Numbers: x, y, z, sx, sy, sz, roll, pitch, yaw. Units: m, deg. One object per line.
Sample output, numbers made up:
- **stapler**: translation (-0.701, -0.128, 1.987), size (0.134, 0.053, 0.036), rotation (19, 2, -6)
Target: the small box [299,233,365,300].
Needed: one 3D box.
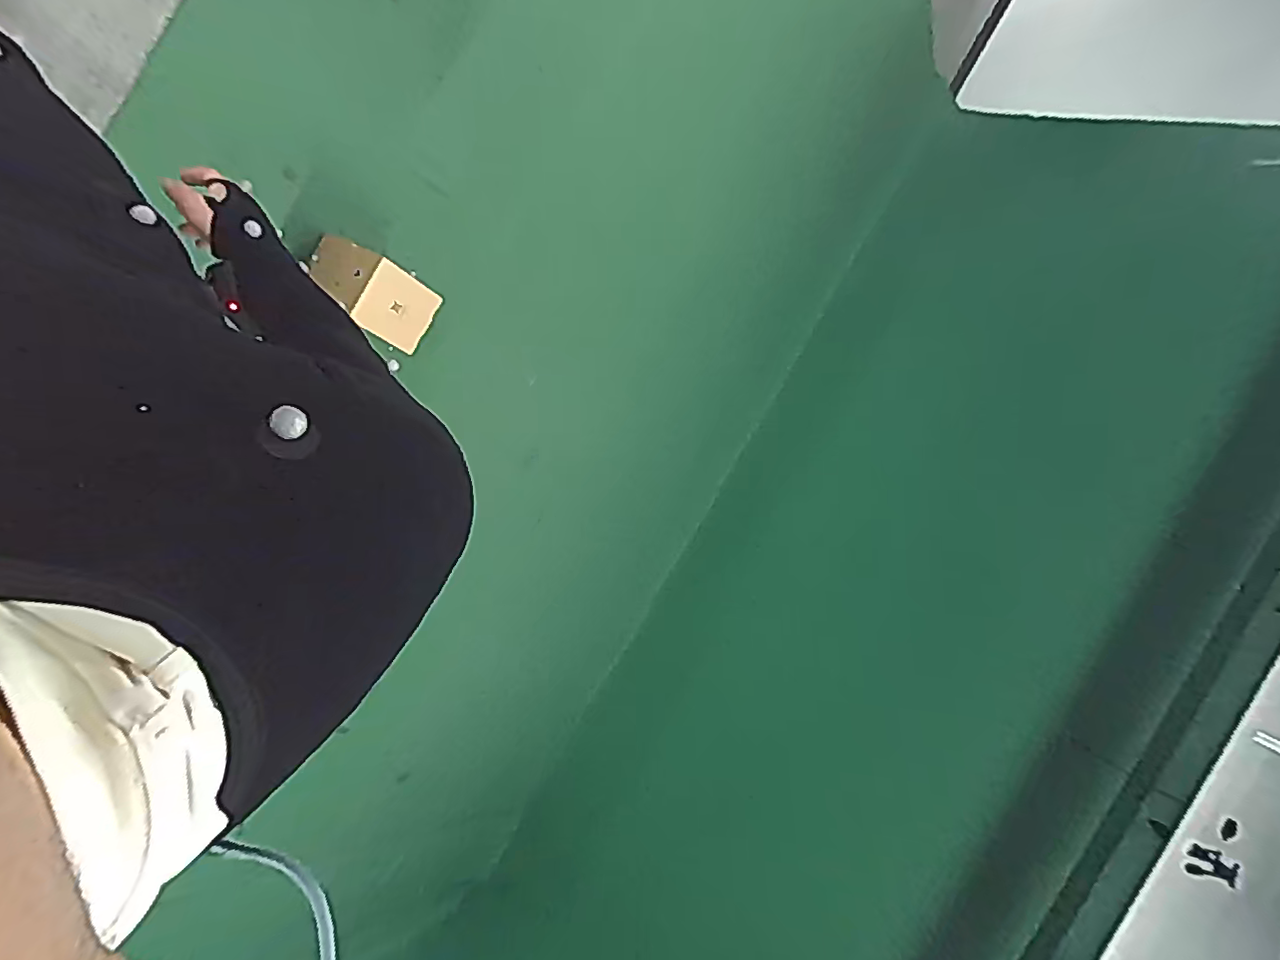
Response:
- **small box**: translation (-0.744, -0.520, 1.415), size (0.168, 0.176, 0.179), rotation (-60, 145, 0)

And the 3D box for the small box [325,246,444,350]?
- **small box**: translation (-0.630, -0.449, 1.326), size (0.168, 0.176, 0.179), rotation (-60, 147, 0)
